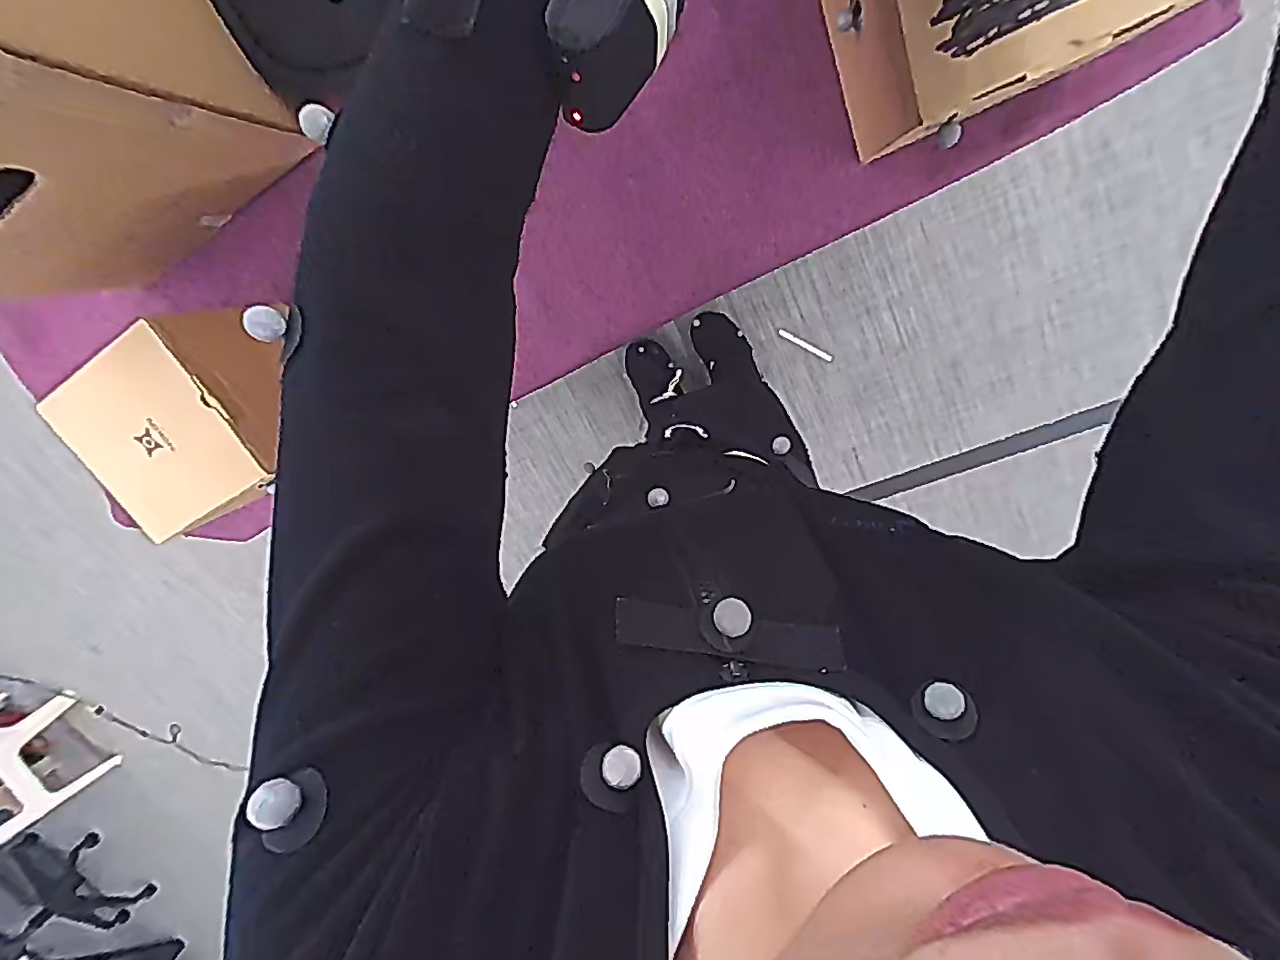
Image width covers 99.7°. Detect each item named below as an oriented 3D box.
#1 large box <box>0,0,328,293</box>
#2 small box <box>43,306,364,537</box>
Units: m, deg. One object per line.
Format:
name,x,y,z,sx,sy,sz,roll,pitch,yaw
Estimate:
large box,-0.549,-0.392,0.389,0.320,0.320,0.408,-25,109,18
small box,-0.447,-0.070,0.584,0.179,0.176,0.168,-26,105,17
